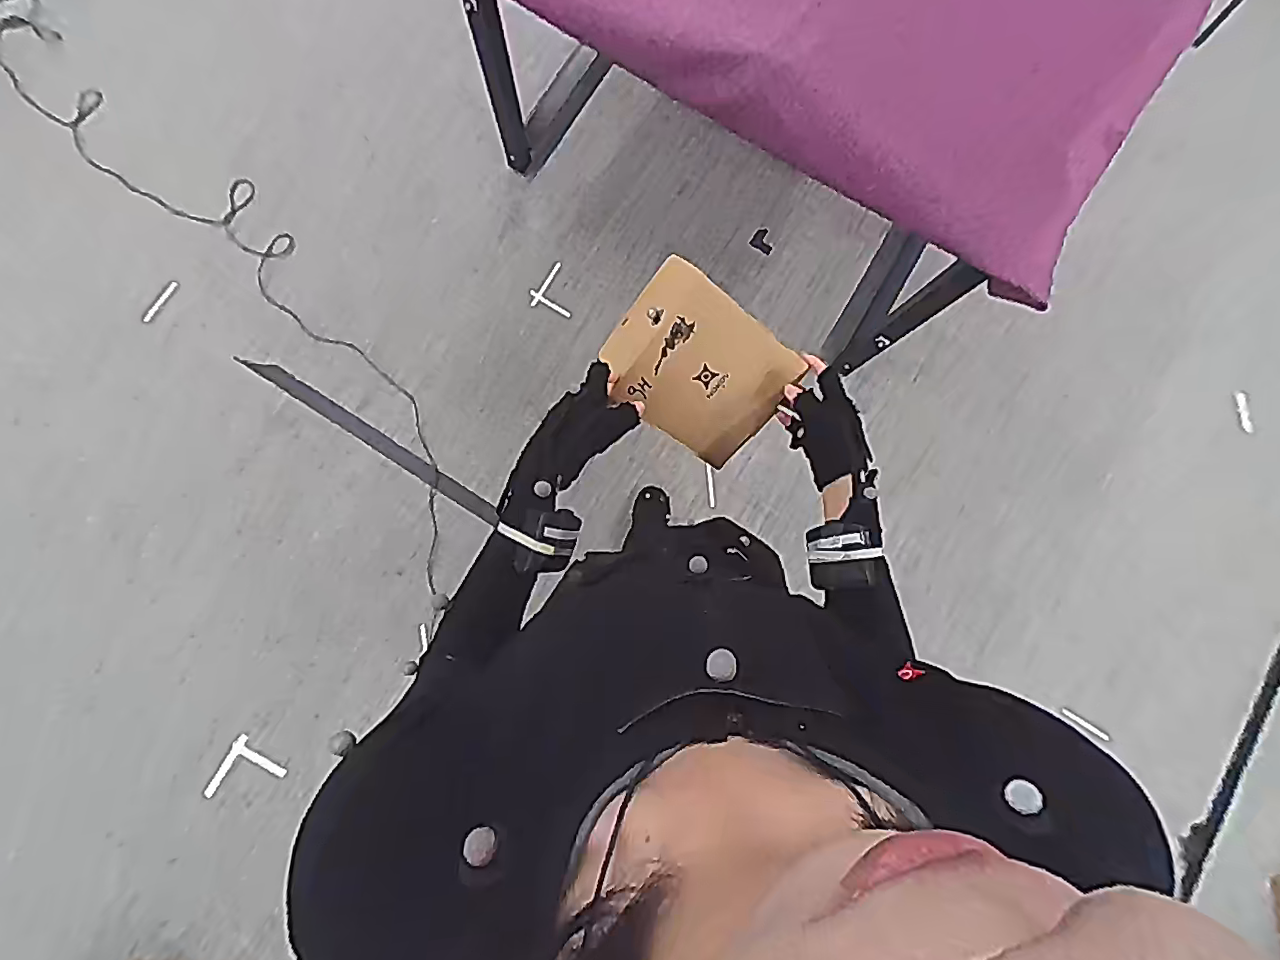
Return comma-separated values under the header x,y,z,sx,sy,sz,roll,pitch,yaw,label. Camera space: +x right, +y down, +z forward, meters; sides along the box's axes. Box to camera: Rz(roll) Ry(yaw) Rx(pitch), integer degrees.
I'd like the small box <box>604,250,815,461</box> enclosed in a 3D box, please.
x,y,z,sx,sy,sz,roll,pitch,yaw,label
0.073,-0.161,0.670,0.179,0.176,0.168,32,110,-23,small box
